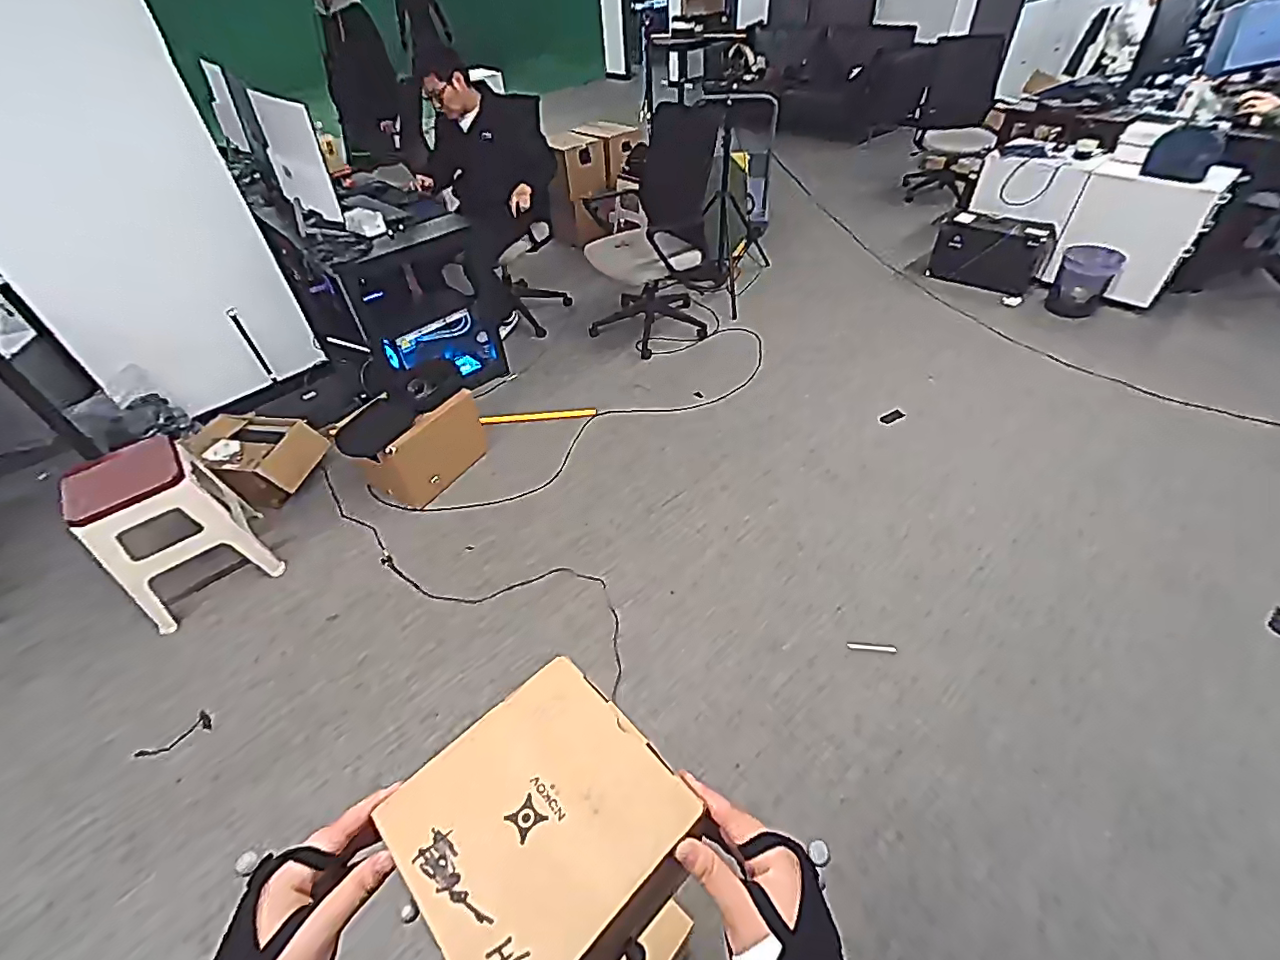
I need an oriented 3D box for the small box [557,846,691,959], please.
[{"bbox_3d":[-0.023,0.821,0.980,0.168,0.176,0.179,31,53,28],"label":"small box"}]
